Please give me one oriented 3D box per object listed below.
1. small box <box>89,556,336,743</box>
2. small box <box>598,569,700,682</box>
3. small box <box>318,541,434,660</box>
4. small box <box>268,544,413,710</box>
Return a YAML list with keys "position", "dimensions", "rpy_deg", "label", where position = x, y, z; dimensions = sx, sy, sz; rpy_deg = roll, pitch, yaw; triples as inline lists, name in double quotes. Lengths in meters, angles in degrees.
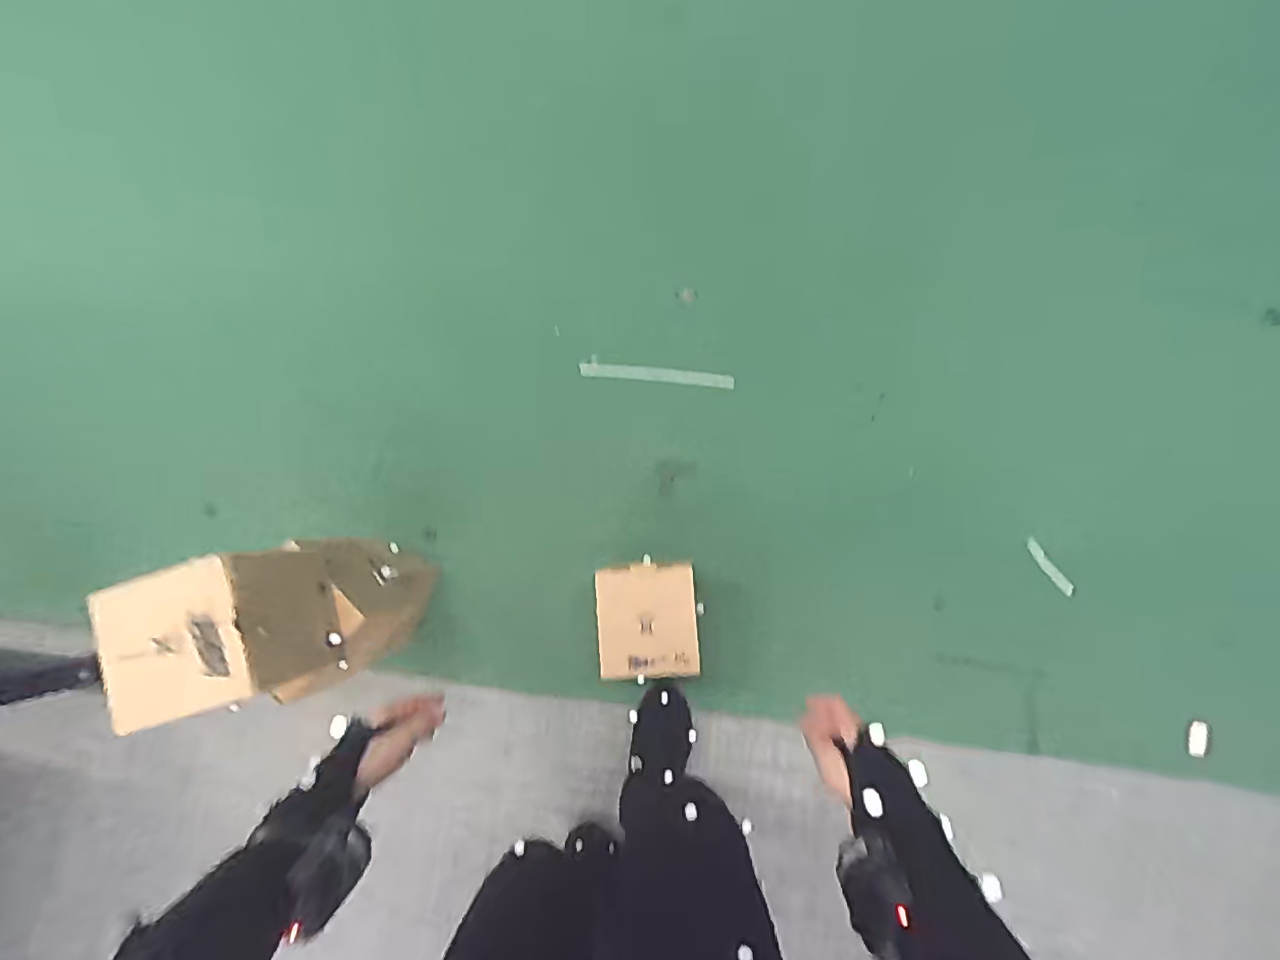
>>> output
- position: [-0.520, 0.199, 0.687]
  dimensions: [0.179, 0.176, 0.168]
  rpy_deg: [-17, 84, 3]
  label: "small box"
- position: [0.017, 0.251, 0.968]
  dimensions: [0.168, 0.176, 0.179]
  rpy_deg: [-4, 83, 4]
  label: "small box"
- position: [-0.518, 0.226, 1.014]
  dimensions: [0.168, 0.176, 0.179]
  rpy_deg: [22, 85, 5]
  label: "small box"
- position: [-0.499, 0.218, 0.850]
  dimensions: [0.168, 0.176, 0.179]
  rpy_deg: [43, 87, 6]
  label: "small box"
